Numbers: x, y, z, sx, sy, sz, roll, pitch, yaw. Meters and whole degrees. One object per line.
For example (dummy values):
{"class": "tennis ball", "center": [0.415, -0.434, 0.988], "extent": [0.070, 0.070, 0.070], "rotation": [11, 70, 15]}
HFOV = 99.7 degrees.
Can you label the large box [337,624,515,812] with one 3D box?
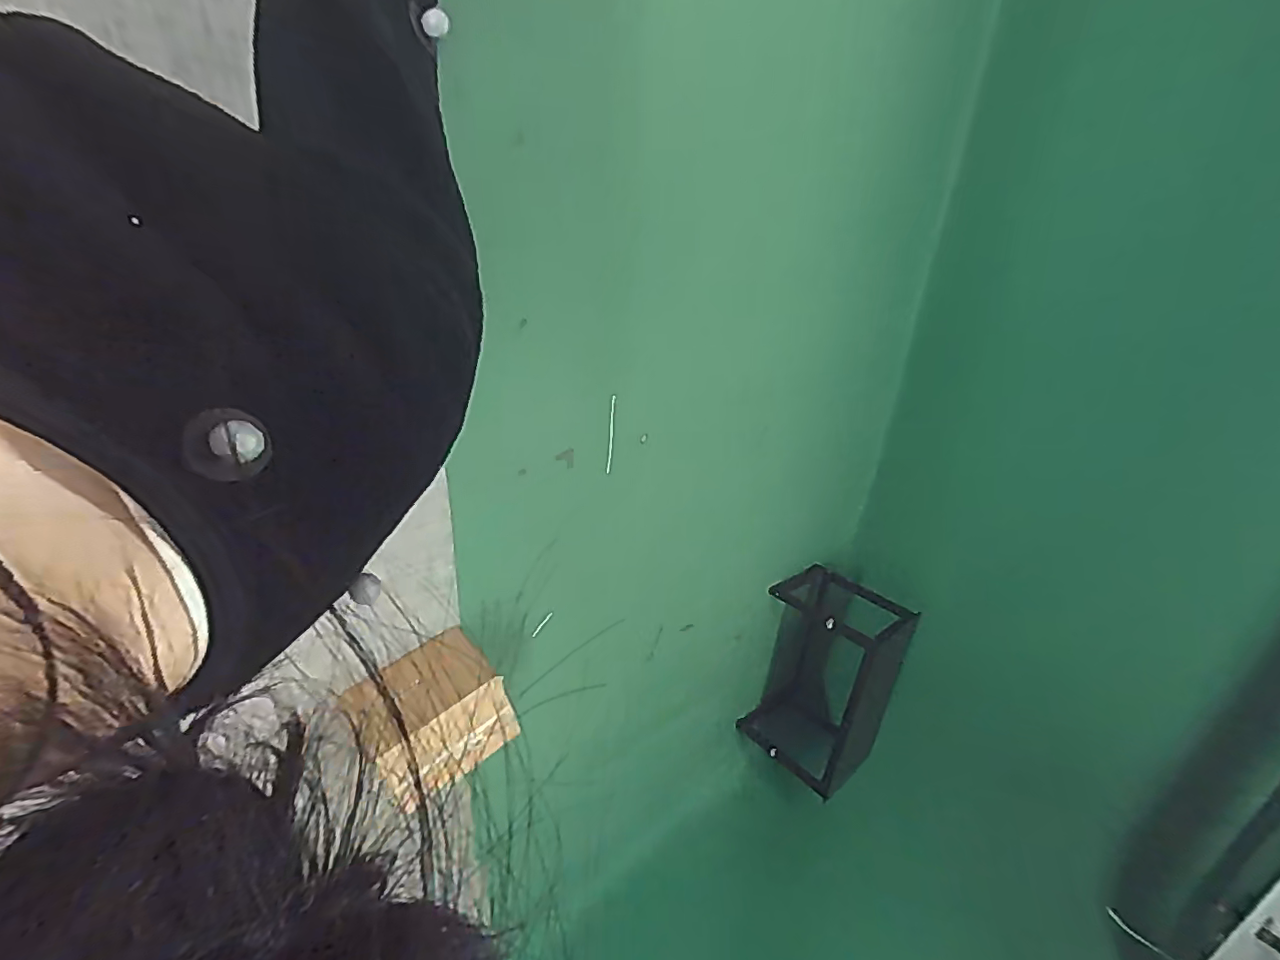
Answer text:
{"class": "large box", "center": [-0.694, 0.761, 1.779], "extent": [0.408, 0.320, 0.320], "rotation": [-31, 131, -33]}
